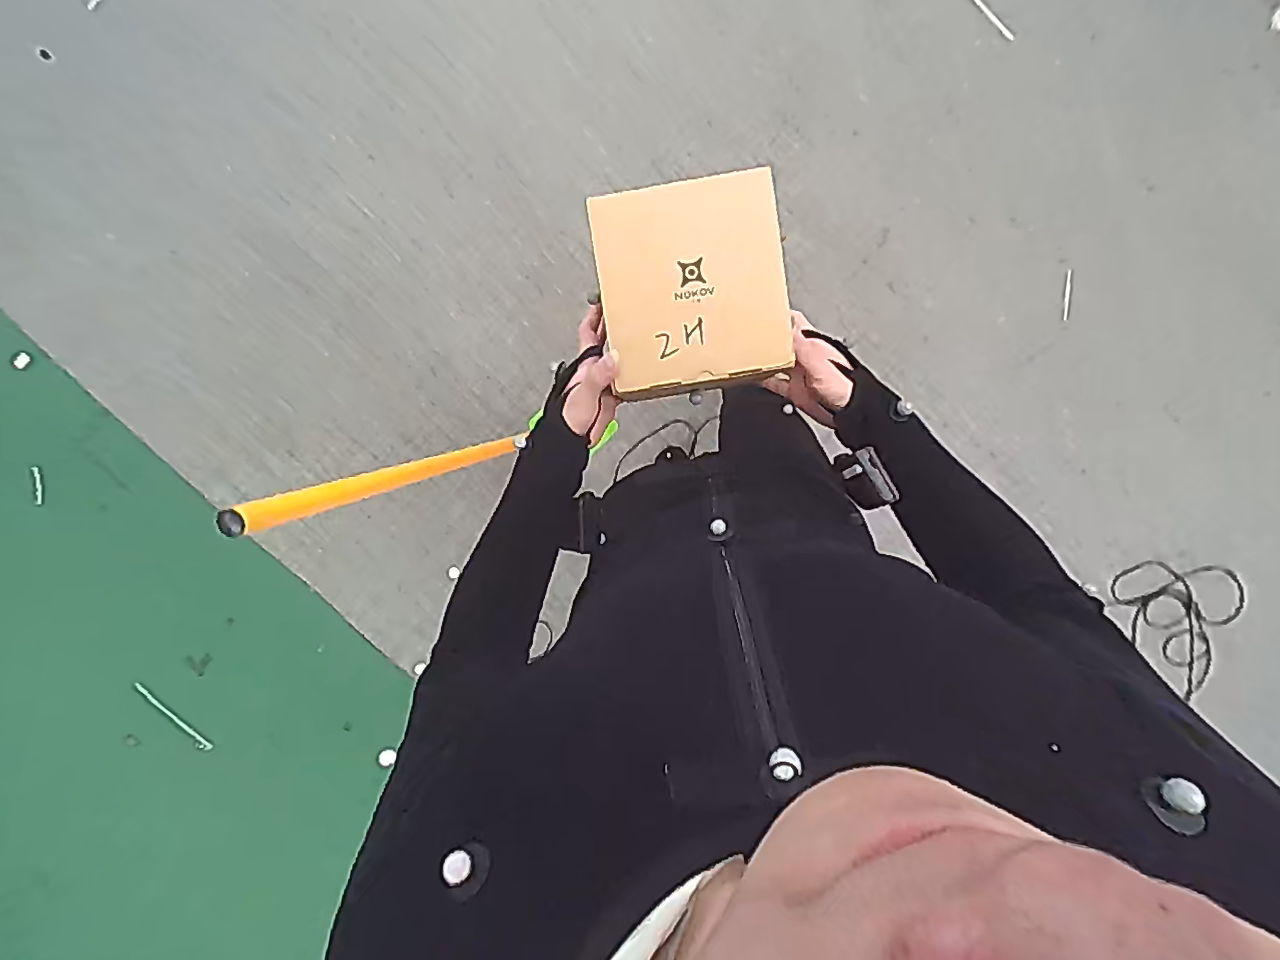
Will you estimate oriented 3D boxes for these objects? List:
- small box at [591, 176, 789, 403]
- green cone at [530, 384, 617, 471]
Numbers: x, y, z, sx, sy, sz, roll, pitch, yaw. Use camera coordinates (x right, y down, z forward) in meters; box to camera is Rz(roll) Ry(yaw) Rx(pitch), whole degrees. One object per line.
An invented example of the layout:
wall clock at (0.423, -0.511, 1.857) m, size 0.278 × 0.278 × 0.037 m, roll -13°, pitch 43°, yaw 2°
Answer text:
small box at (0.047, -0.183, 0.571) m, size 0.168 × 0.176 × 0.179 m, roll -8°, pitch 95°, yaw 3°
green cone at (-0.198, -0.128, 1.429) m, size 0.200 × 0.368 × 0.202 m, roll -44°, pitch 96°, yaw 6°
